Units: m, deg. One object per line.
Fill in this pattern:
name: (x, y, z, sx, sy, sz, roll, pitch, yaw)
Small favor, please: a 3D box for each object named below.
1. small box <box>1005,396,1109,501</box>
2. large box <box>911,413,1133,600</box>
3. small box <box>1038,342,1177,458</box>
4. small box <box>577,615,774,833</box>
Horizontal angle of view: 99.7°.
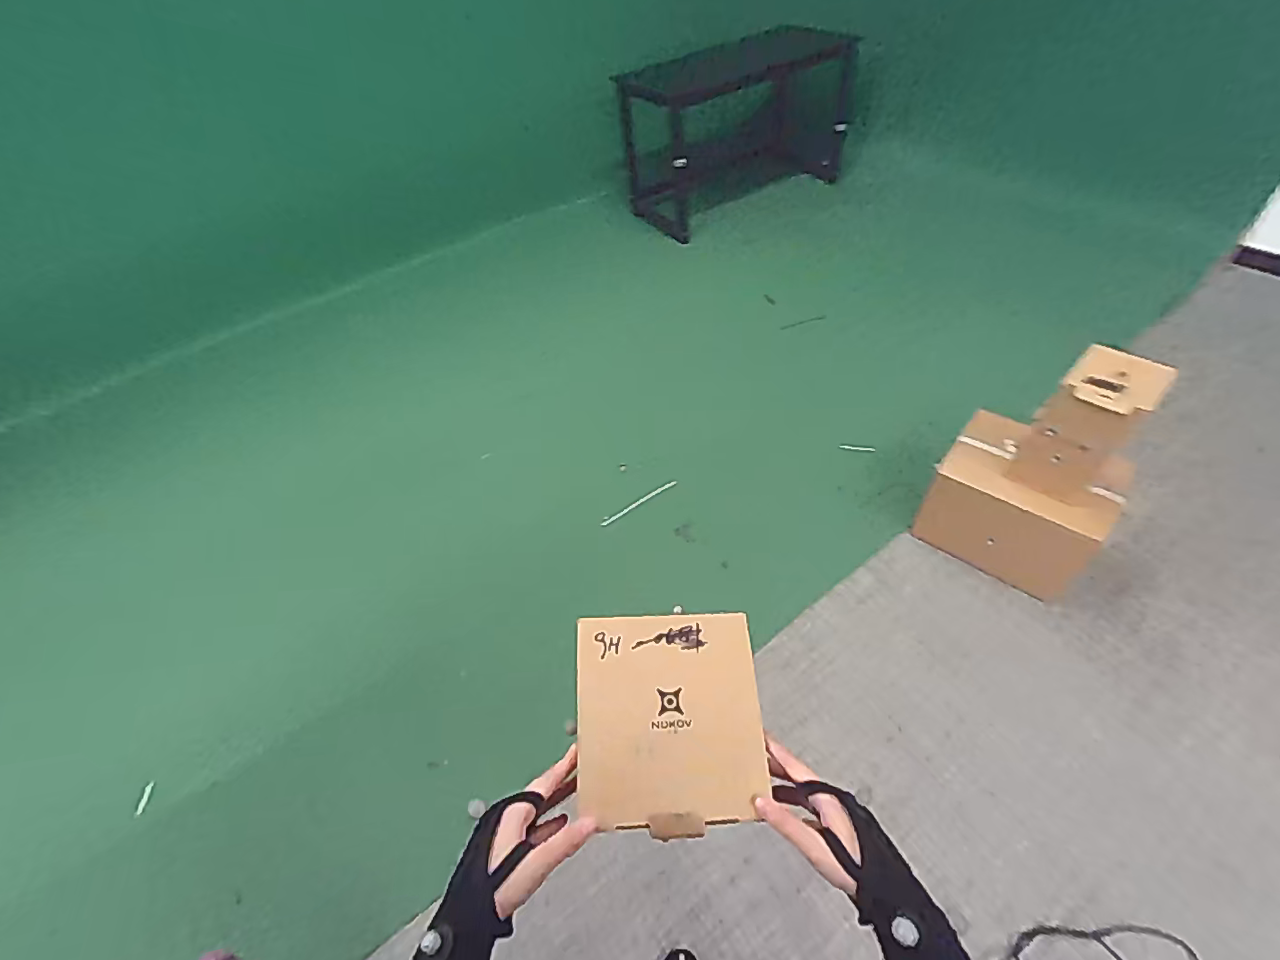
small box: (1.072, -0.077, 1.371, 0.179, 0.176, 0.168, 34, 63, 31)
large box: (1.082, 0.071, 1.569, 0.408, 0.320, 0.320, 29, 58, 31)
small box: (1.061, -0.181, 1.245, 0.179, 0.176, 0.168, -40, 55, -22)
small box: (0.025, 0.244, 0.550, 0.168, 0.176, 0.179, 0, 62, -4)
